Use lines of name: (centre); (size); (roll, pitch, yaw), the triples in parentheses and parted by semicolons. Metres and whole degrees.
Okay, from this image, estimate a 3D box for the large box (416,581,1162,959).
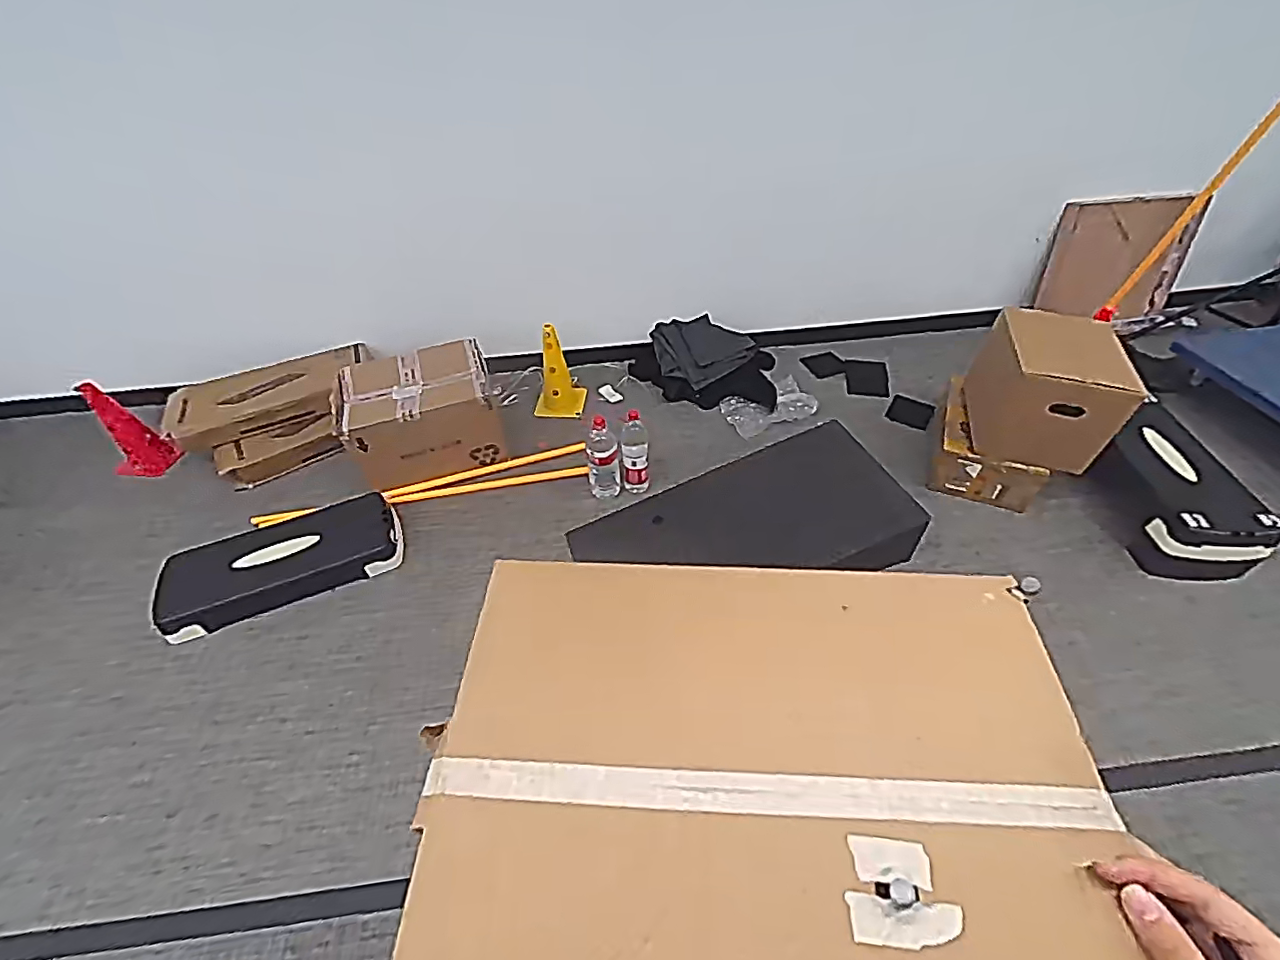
large box: (0.081, 0.297, 0.447); (0.408, 0.320, 0.320); (1, 51, 3)
